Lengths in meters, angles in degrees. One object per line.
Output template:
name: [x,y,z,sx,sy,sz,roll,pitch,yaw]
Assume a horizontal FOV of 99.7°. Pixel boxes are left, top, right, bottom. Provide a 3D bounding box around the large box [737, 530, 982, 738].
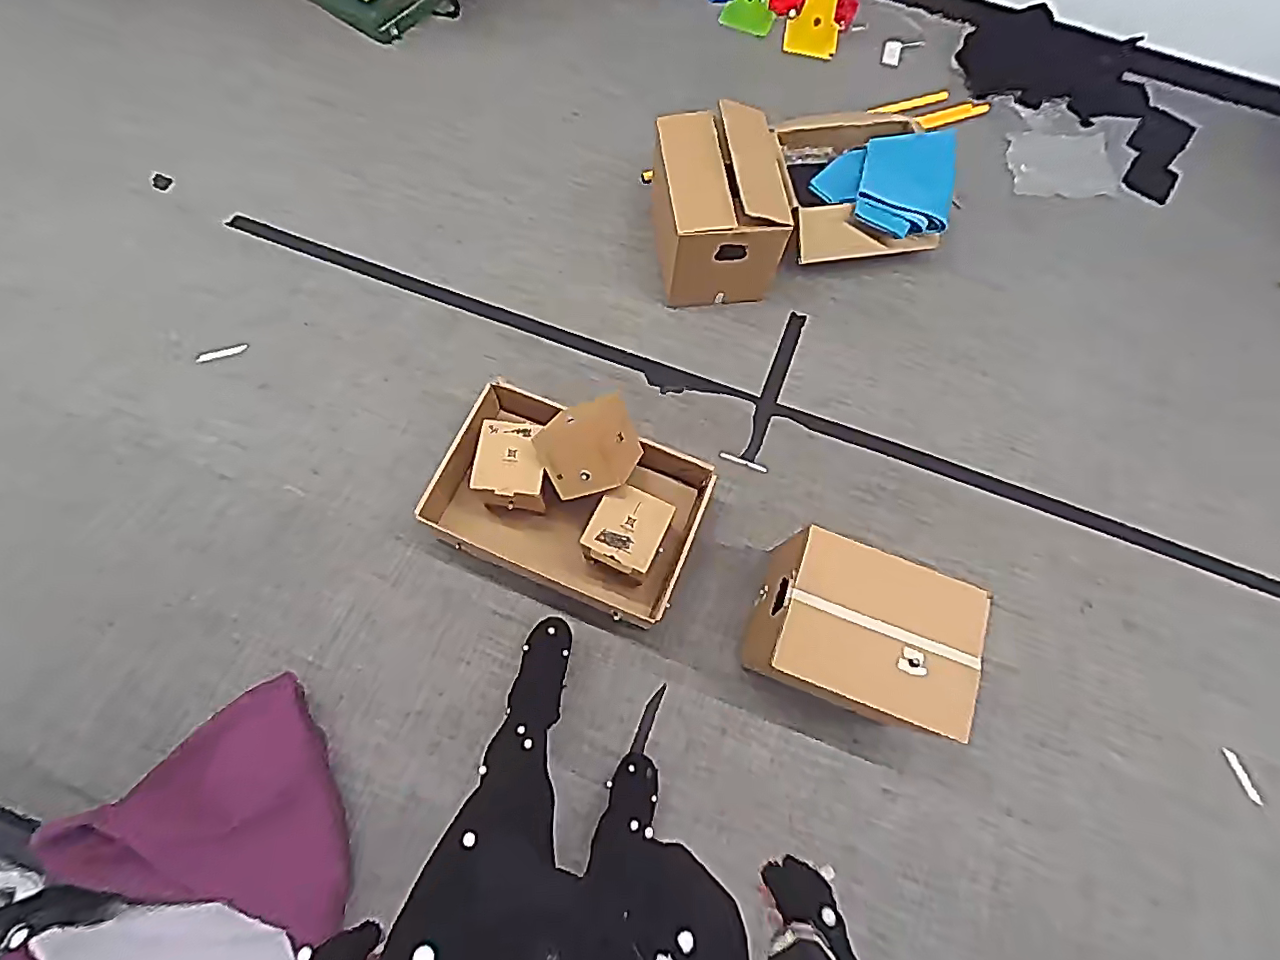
large box: [0.481,0.351,1.249,0.408,0.320,0.320,21,72,3]
